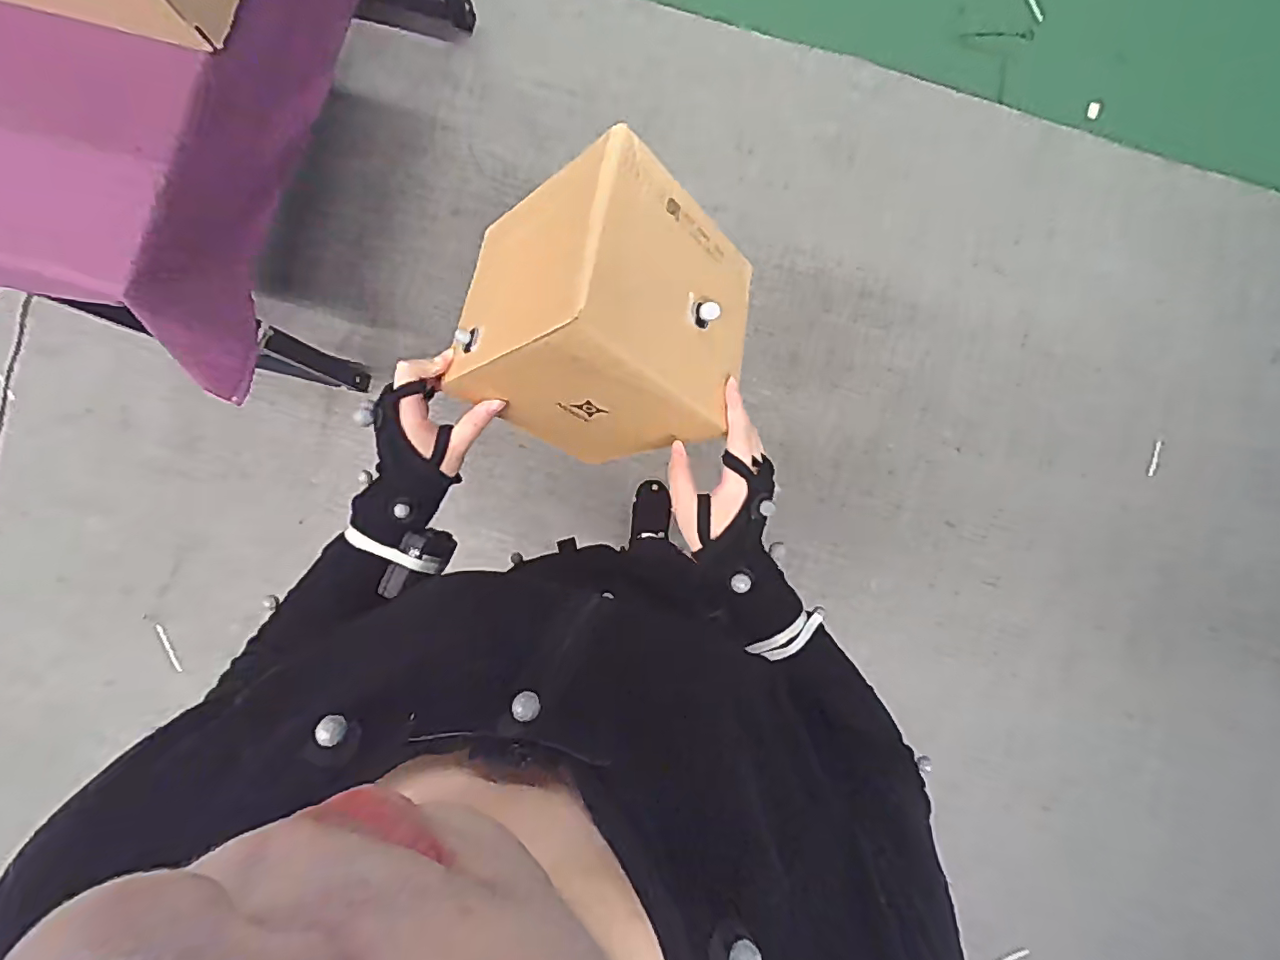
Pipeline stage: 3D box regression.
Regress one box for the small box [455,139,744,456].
[{"bbox_3d":[-0.025,-0.137,0.461,0.168,0.179,0.176,28,65,-40],"label":"small box"}]
